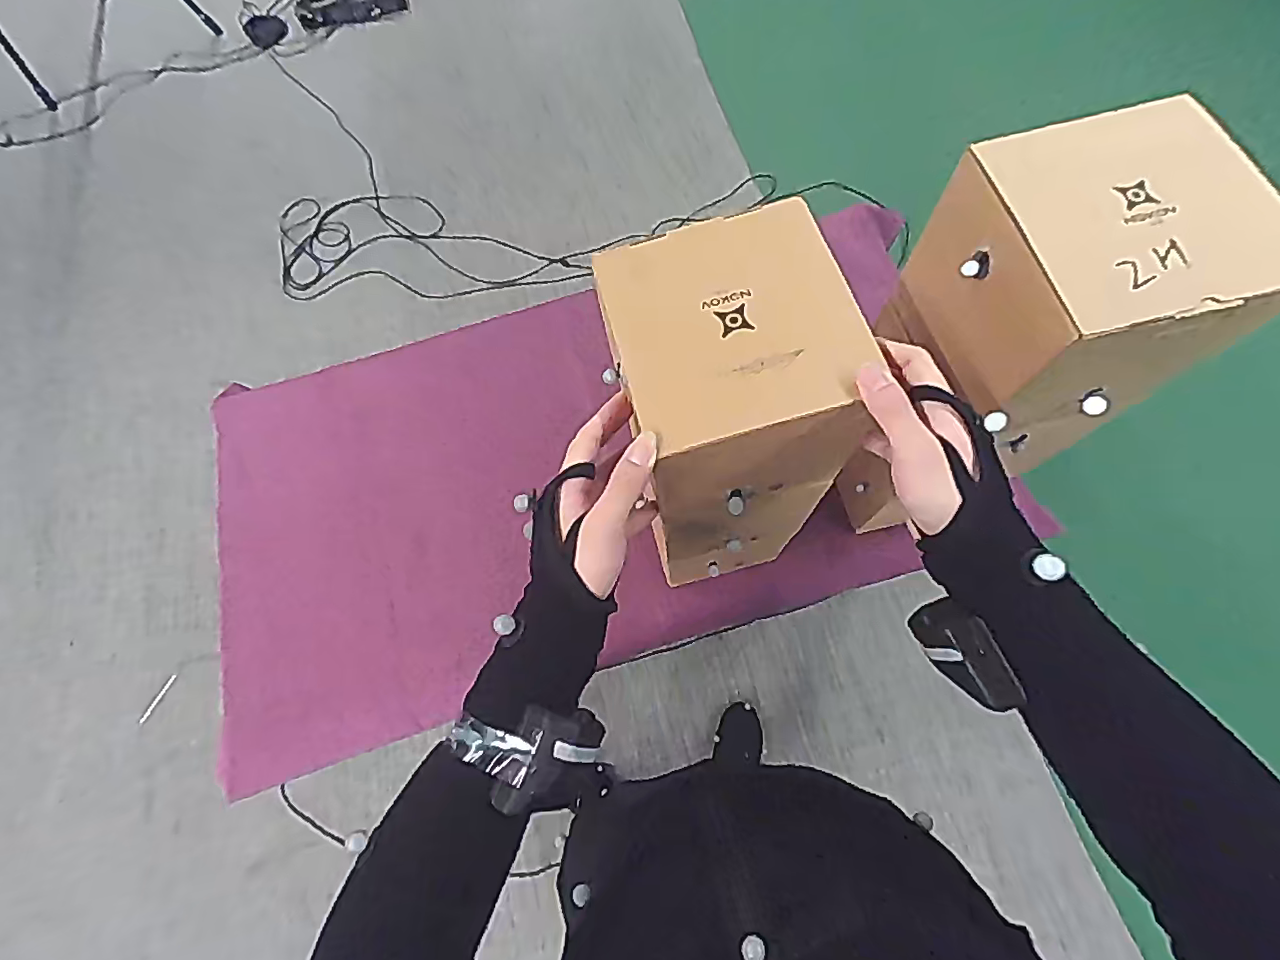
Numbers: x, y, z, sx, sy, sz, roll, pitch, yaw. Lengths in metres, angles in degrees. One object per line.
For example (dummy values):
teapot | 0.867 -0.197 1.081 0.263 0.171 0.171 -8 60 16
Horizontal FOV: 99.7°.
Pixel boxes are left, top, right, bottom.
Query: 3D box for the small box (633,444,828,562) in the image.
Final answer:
small box | 0.082 -0.025 0.598 0.168 0.176 0.179 -14 69 0

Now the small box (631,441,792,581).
small box | 0.094 0.034 0.750 0.168 0.176 0.179 -15 68 0

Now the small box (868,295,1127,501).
small box | 0.354 -0.097 0.596 0.168 0.176 0.179 -13 69 1

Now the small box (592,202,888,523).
small box | 0.067 -0.083 0.447 0.168 0.176 0.179 -15 70 0

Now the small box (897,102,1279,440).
small box | 0.340 -0.156 0.443 0.168 0.176 0.179 -12 70 1
